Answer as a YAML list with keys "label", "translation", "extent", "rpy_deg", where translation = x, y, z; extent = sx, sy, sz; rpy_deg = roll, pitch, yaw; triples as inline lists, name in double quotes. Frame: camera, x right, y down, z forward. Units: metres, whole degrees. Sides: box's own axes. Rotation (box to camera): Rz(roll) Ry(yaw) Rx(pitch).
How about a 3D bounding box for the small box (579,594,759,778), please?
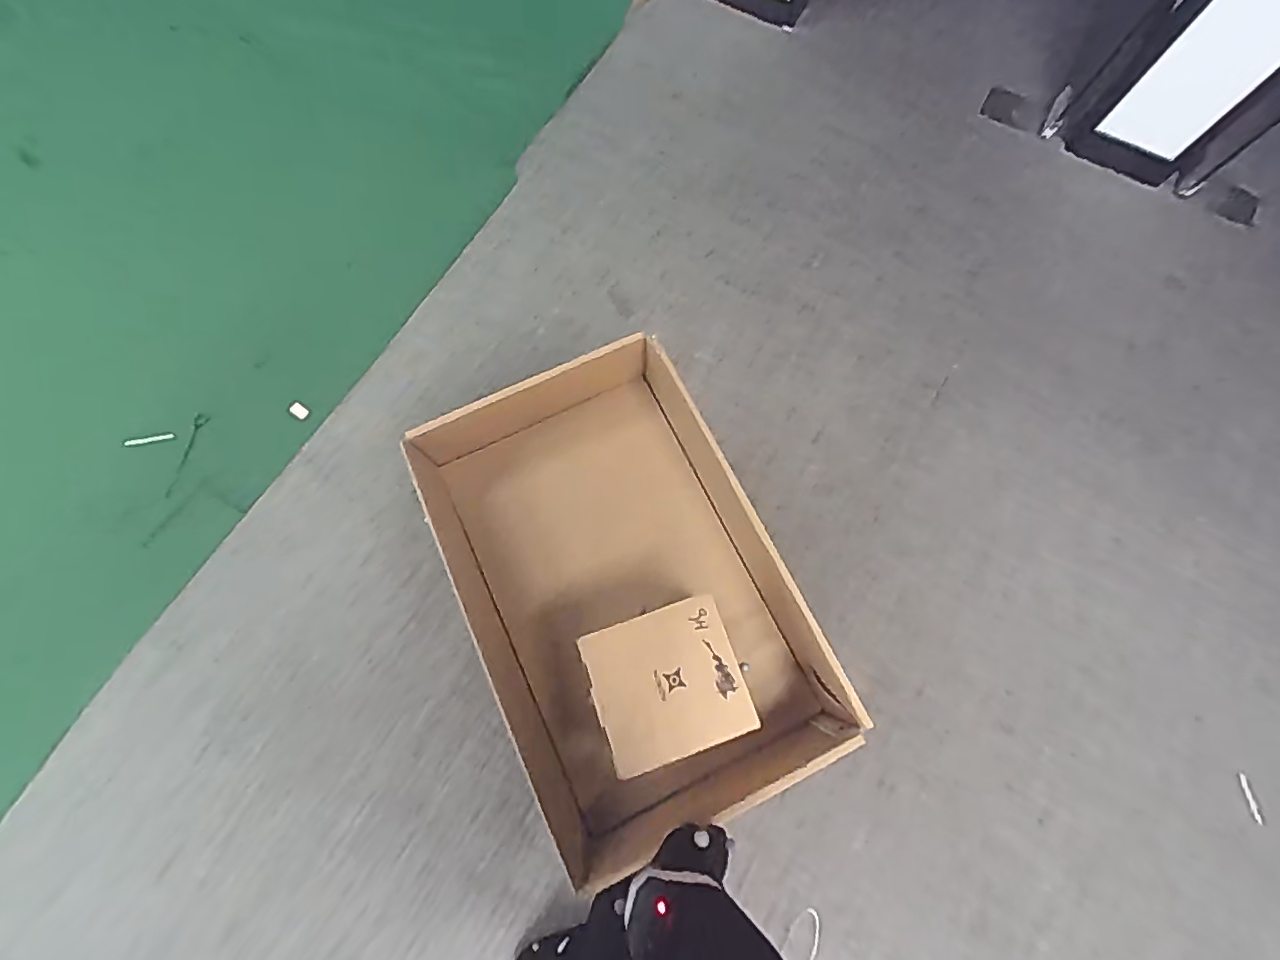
- label: "small box"
  translation: [0.034, 0.260, 0.714]
  extent: [0.179, 0.176, 0.168]
  rpy_deg: [-19, 77, -5]
